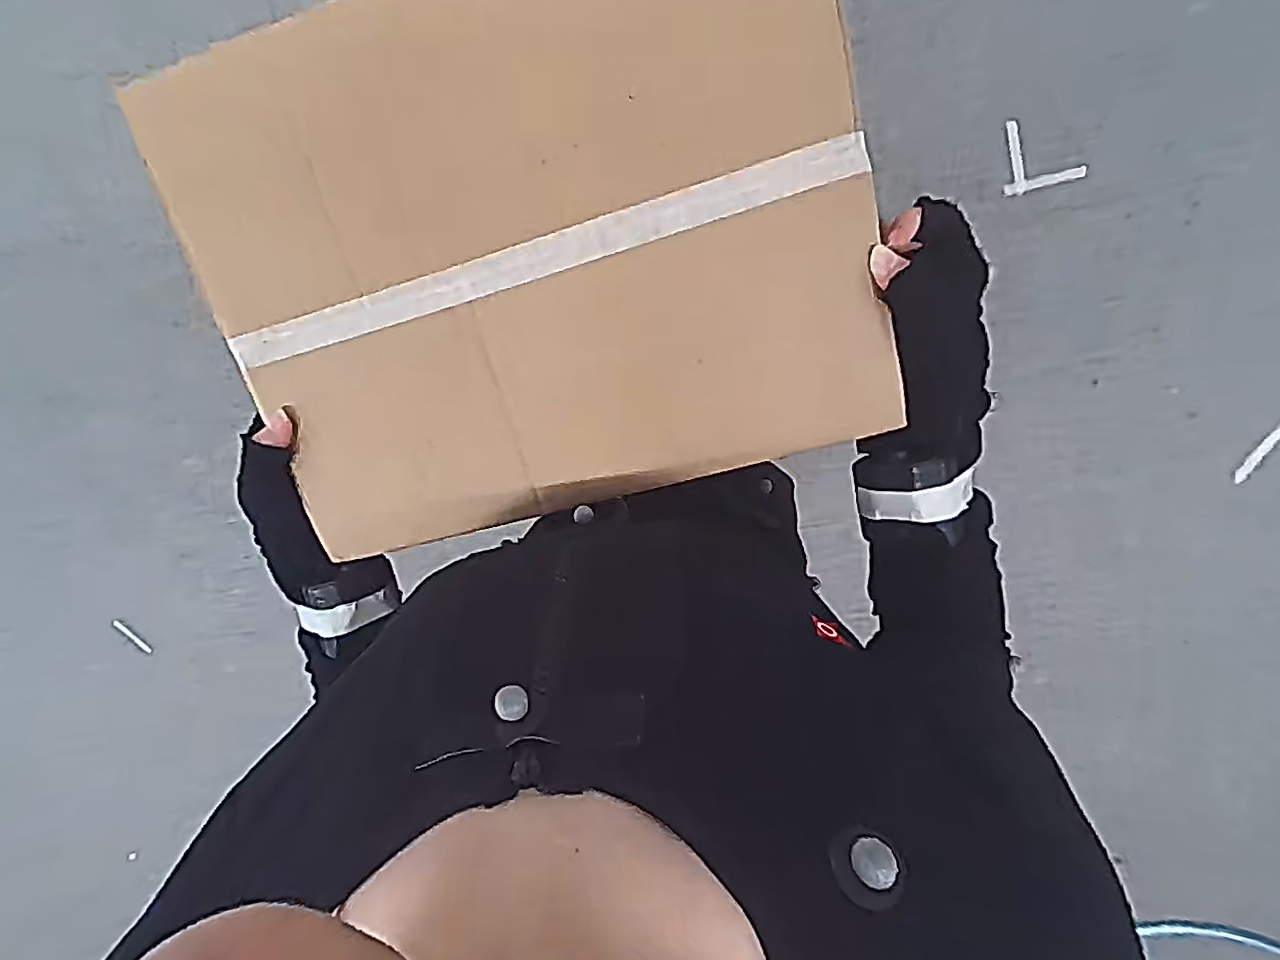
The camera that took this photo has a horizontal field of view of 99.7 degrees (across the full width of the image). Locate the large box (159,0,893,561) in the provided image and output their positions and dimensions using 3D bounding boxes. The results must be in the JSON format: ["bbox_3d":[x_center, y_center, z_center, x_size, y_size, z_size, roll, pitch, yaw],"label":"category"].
[{"bbox_3d":[-0.054,-0.171,0.479,0.408,0.320,0.320,-14,104,9],"label":"large box"}]
